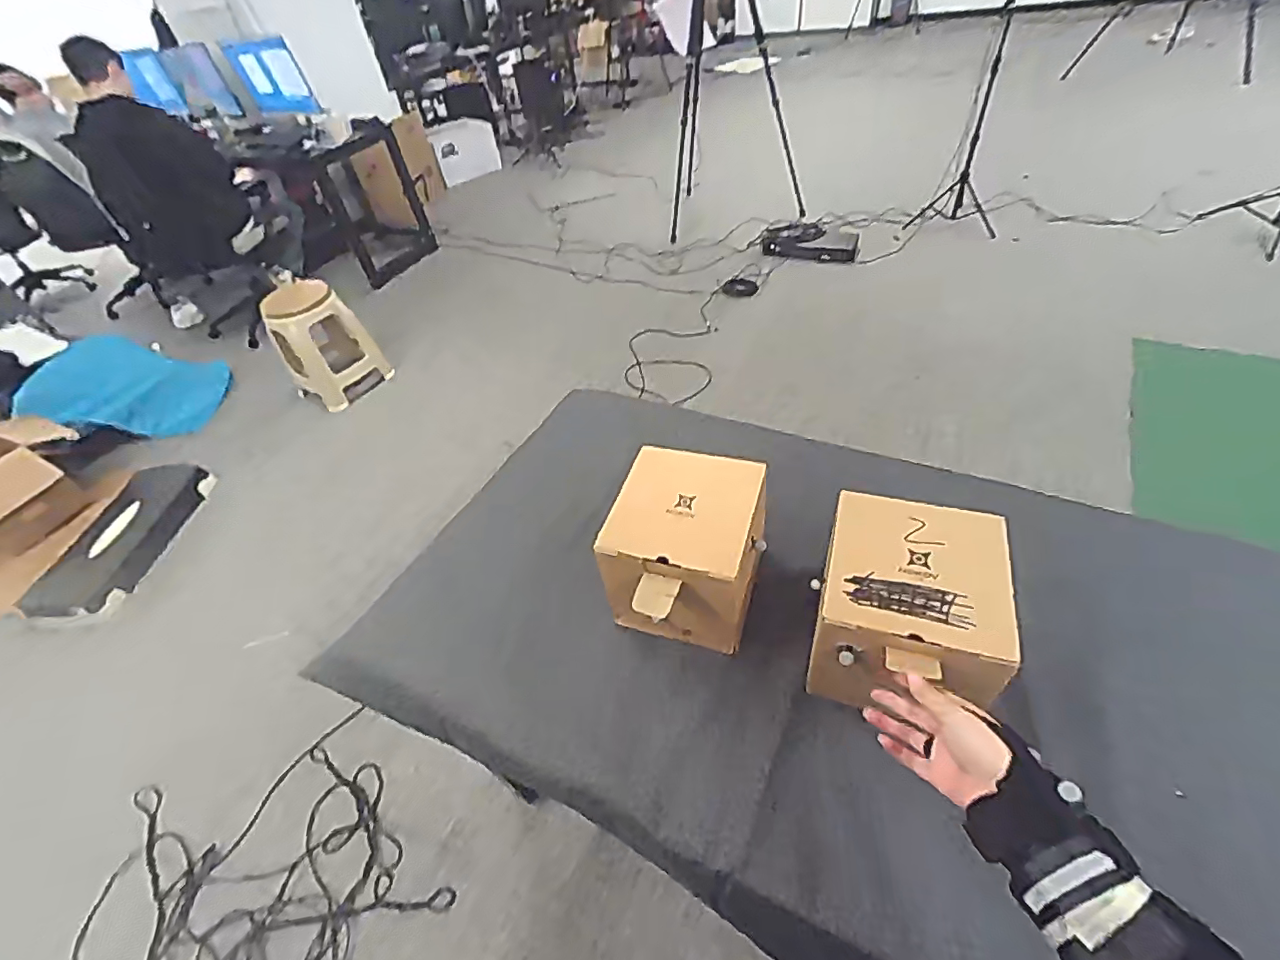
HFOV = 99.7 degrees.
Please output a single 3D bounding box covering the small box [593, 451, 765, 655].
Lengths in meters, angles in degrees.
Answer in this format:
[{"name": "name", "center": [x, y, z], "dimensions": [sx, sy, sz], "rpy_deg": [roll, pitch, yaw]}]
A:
[{"name": "small box", "center": [0.058, 0.091, 0.689], "dimensions": [0.168, 0.176, 0.179], "rpy_deg": [9, 49, 18]}]
